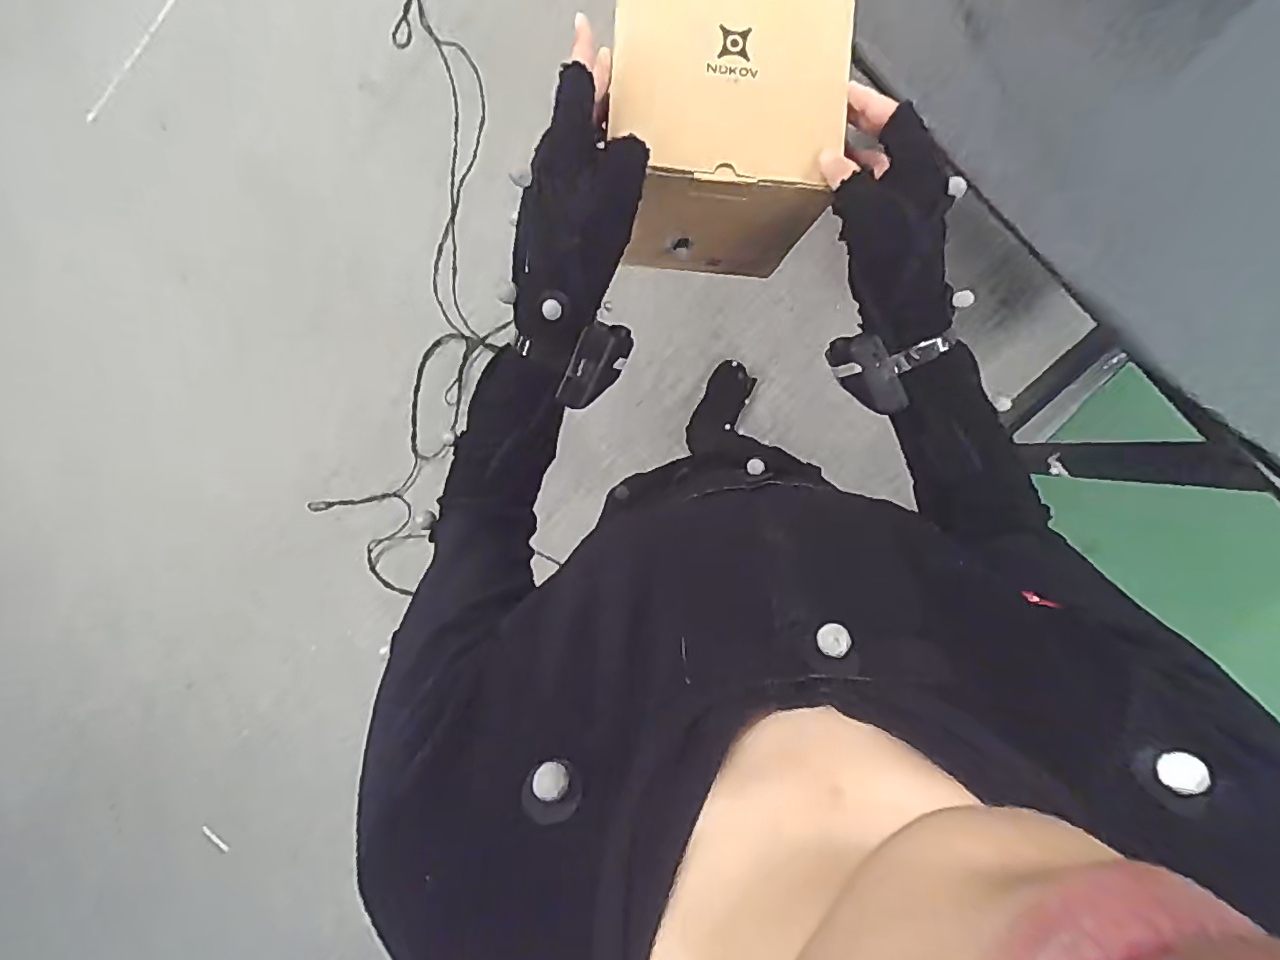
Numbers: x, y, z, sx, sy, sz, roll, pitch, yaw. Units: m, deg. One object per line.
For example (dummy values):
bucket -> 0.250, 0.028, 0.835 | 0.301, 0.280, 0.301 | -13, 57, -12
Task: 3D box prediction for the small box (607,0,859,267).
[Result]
small box -> 0.061, -0.300, 0.448 | 0.168, 0.176, 0.179 | 4, 92, -4
